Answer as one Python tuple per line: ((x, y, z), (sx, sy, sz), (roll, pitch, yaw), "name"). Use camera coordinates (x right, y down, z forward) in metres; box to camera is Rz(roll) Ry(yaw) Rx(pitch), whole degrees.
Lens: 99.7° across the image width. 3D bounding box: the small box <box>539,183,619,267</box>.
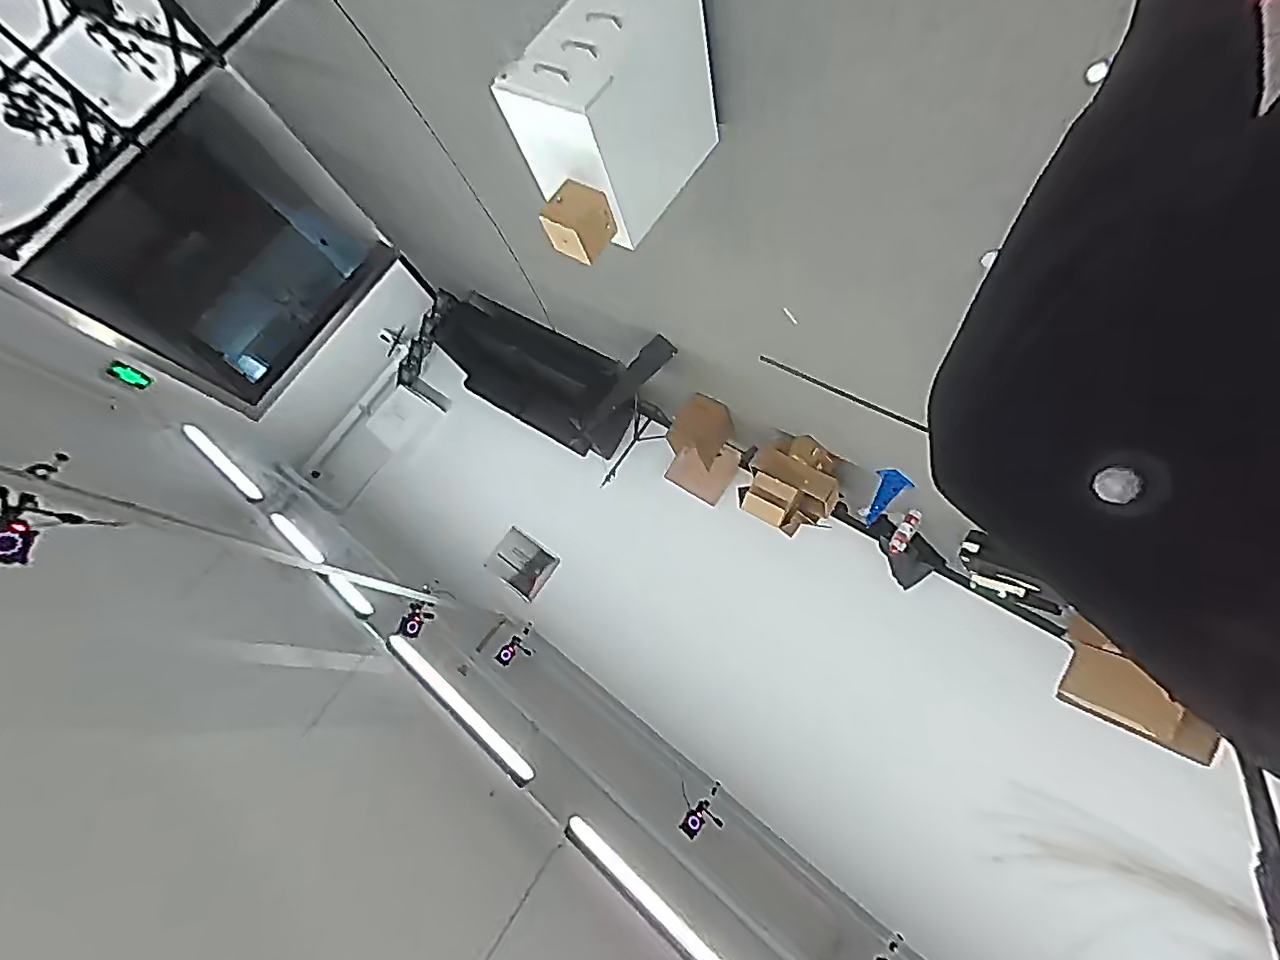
((-0.202, -0.866, 1.830), (0.179, 0.176, 0.168), (33, 171, 22), "small box")
